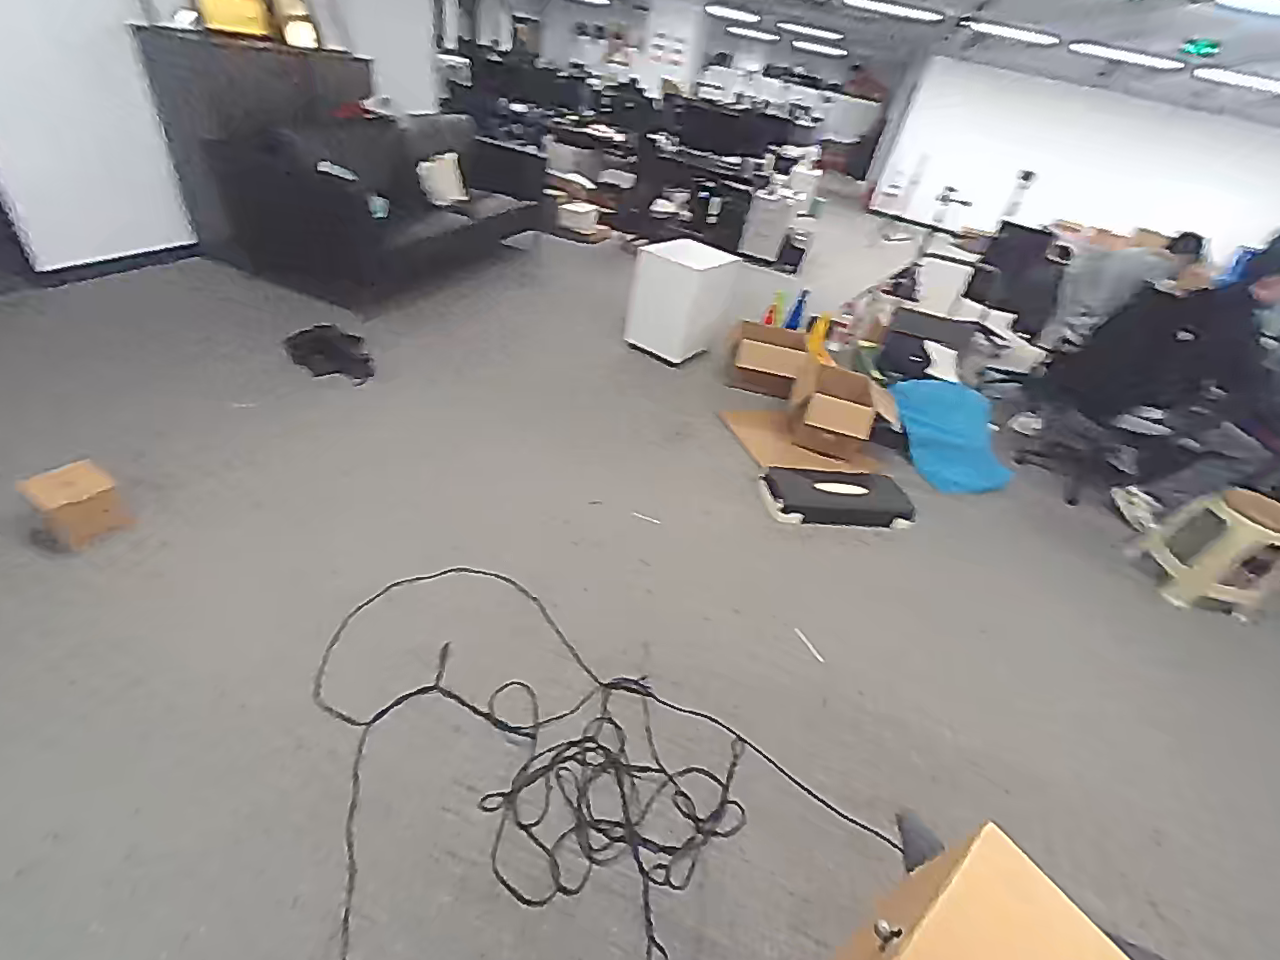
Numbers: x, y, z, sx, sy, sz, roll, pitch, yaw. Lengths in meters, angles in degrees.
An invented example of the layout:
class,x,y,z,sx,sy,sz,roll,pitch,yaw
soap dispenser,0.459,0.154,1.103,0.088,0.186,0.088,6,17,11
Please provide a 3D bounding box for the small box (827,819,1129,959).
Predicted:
class,x,y,z,sx,sy,sz,roll,pitch,yaw
small box,0.241,0.399,0.389,0.179,0.176,0.168,-12,44,-39

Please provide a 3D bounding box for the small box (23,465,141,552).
class,x,y,z,sx,sy,sz,roll,pitch,yaw
small box,-1.640,0.088,1.600,0.179,0.176,0.168,26,36,18
